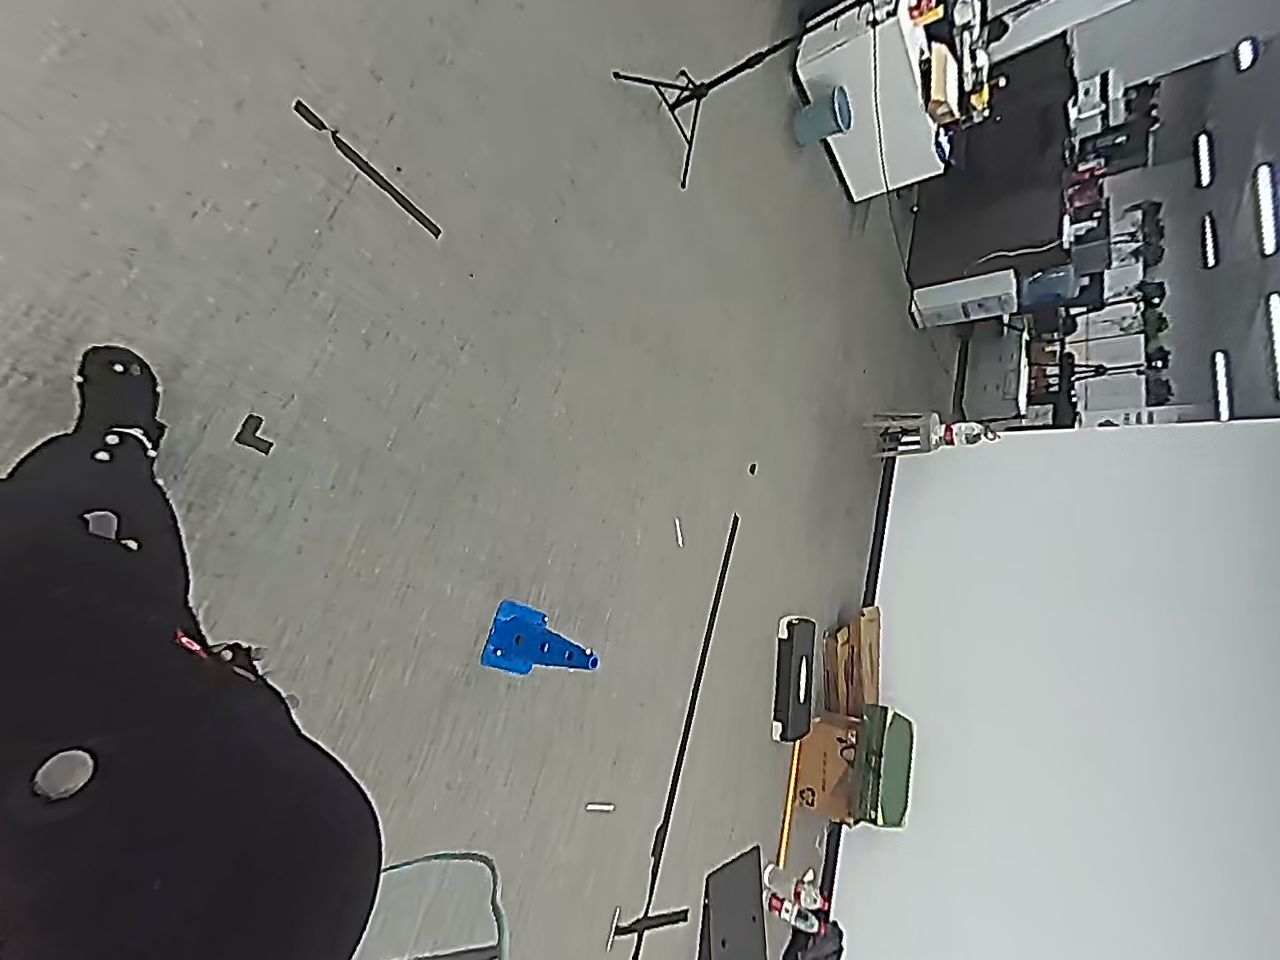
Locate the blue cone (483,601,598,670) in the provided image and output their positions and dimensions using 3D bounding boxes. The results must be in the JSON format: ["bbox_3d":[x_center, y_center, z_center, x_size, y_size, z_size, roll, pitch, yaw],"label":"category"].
[{"bbox_3d":[-0.269,0.484,1.576,0.193,0.380,0.192,37,62,-43],"label":"blue cone"}]
